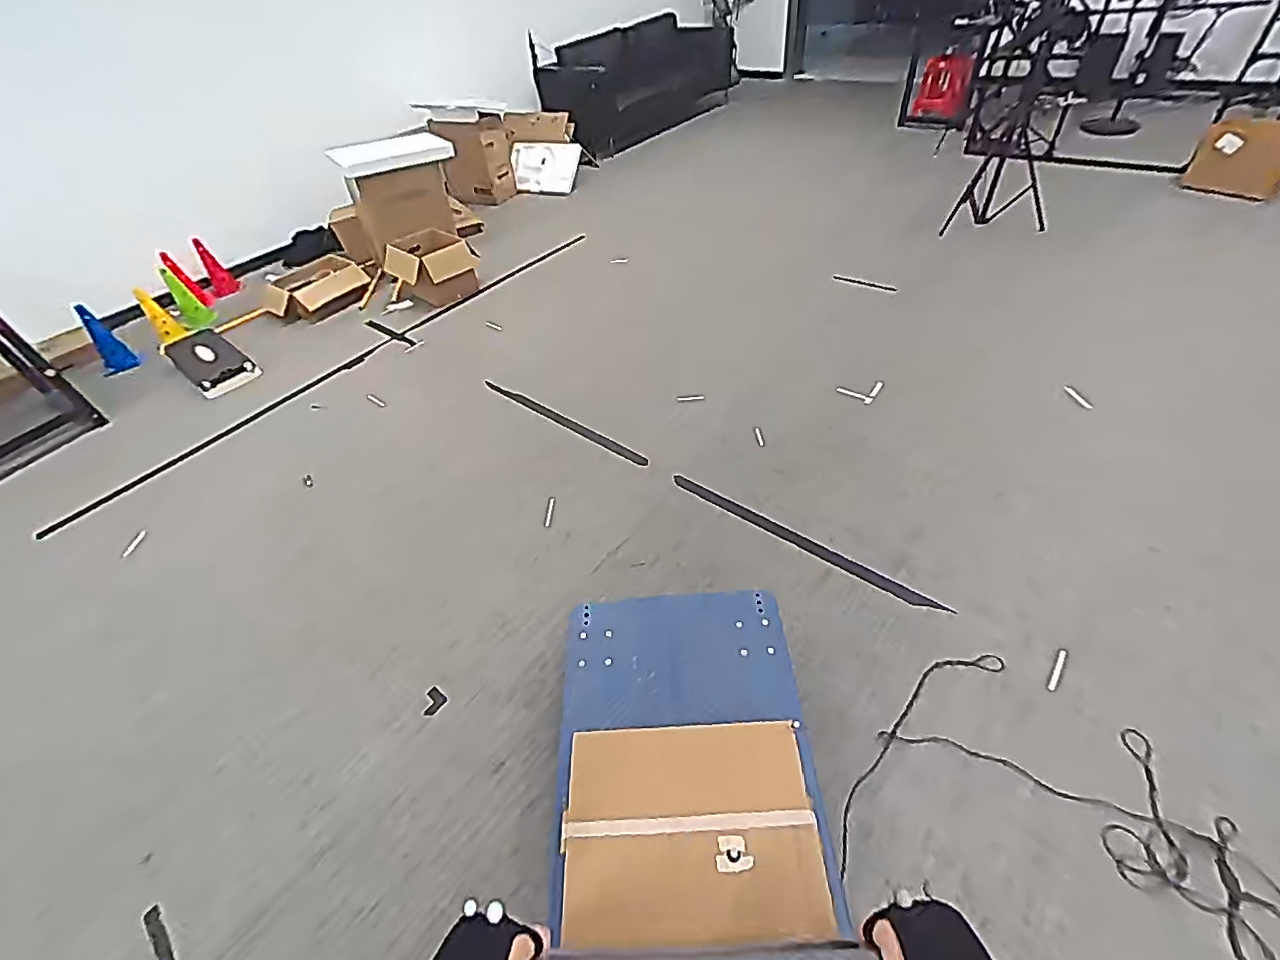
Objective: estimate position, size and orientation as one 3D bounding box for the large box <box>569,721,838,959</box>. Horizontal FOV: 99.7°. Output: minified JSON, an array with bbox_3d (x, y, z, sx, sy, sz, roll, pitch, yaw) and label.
[{"bbox_3d":[0.094,0.671,0.991,0.408,0.320,0.320,-4,46,2],"label":"large box"}]
